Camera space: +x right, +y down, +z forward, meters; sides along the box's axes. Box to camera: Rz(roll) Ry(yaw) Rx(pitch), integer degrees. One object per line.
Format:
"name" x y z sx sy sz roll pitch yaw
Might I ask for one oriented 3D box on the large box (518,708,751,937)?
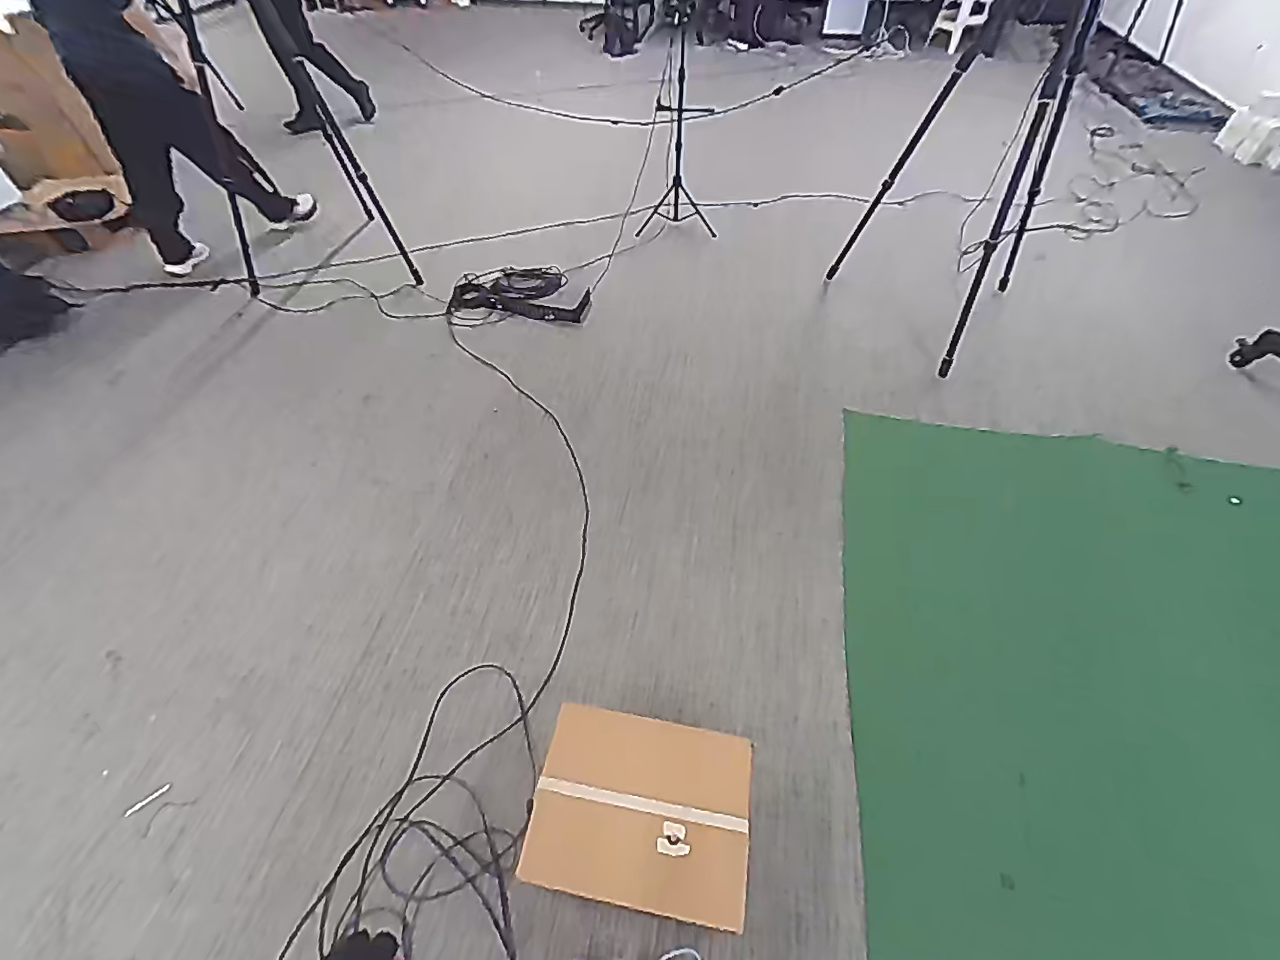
"large box" -0.001 0.718 1.135 0.408 0.320 0.320 9 50 6
